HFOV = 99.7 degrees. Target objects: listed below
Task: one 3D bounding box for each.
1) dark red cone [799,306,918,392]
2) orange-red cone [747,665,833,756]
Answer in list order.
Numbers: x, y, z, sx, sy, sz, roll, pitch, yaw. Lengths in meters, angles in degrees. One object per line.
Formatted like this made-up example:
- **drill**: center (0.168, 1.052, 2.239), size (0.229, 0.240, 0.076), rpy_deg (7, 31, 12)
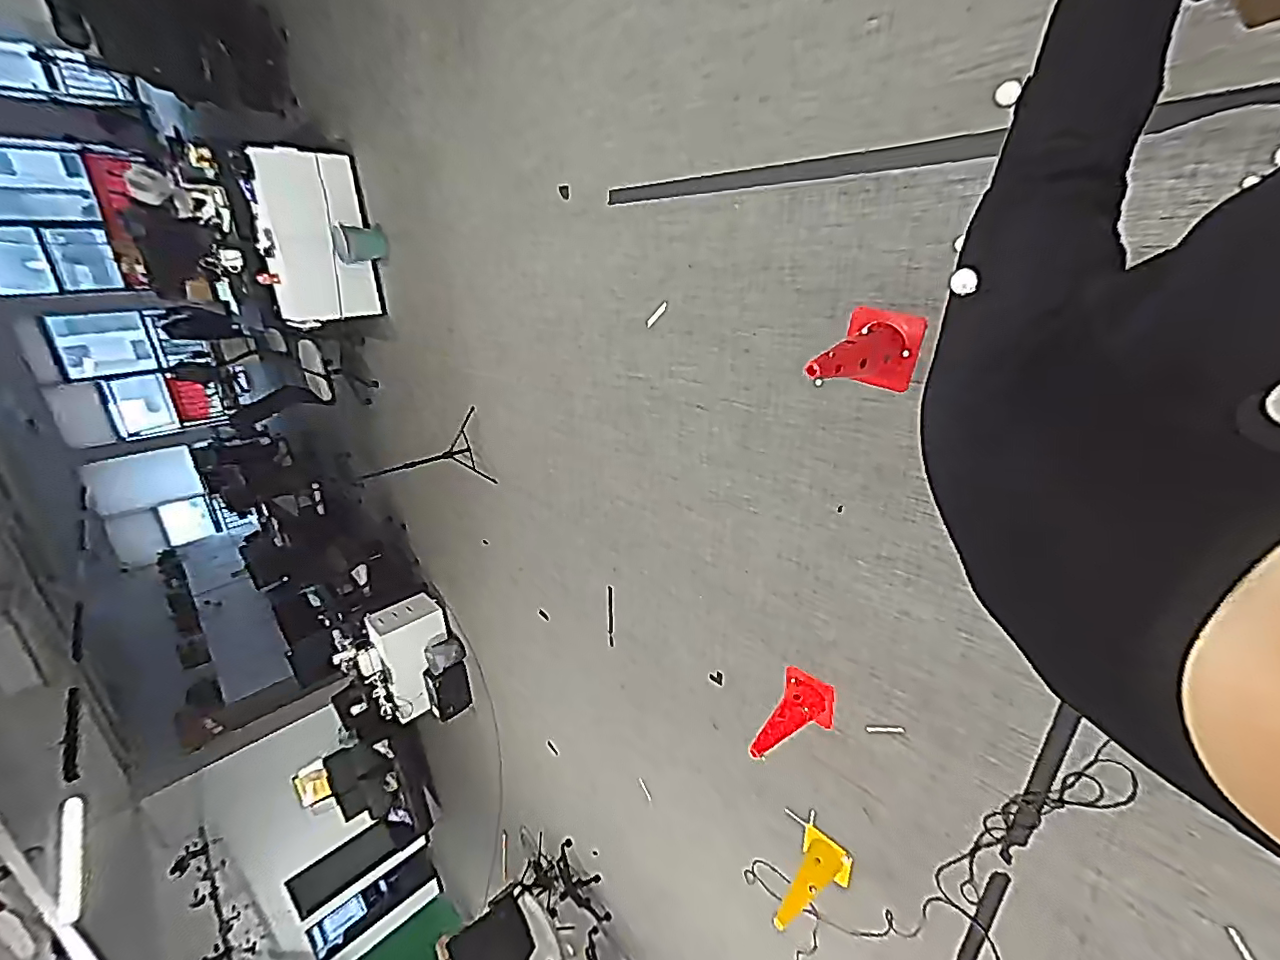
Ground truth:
- **dark red cone**: center (0.510, -0.306, 1.343), size (0.201, 0.394, 0.202), rpy_deg (27, 126, 38)
- **orange-red cone**: center (0.505, 0.860, 1.919), size (0.198, 0.360, 0.199), rpy_deg (19, 122, 44)
